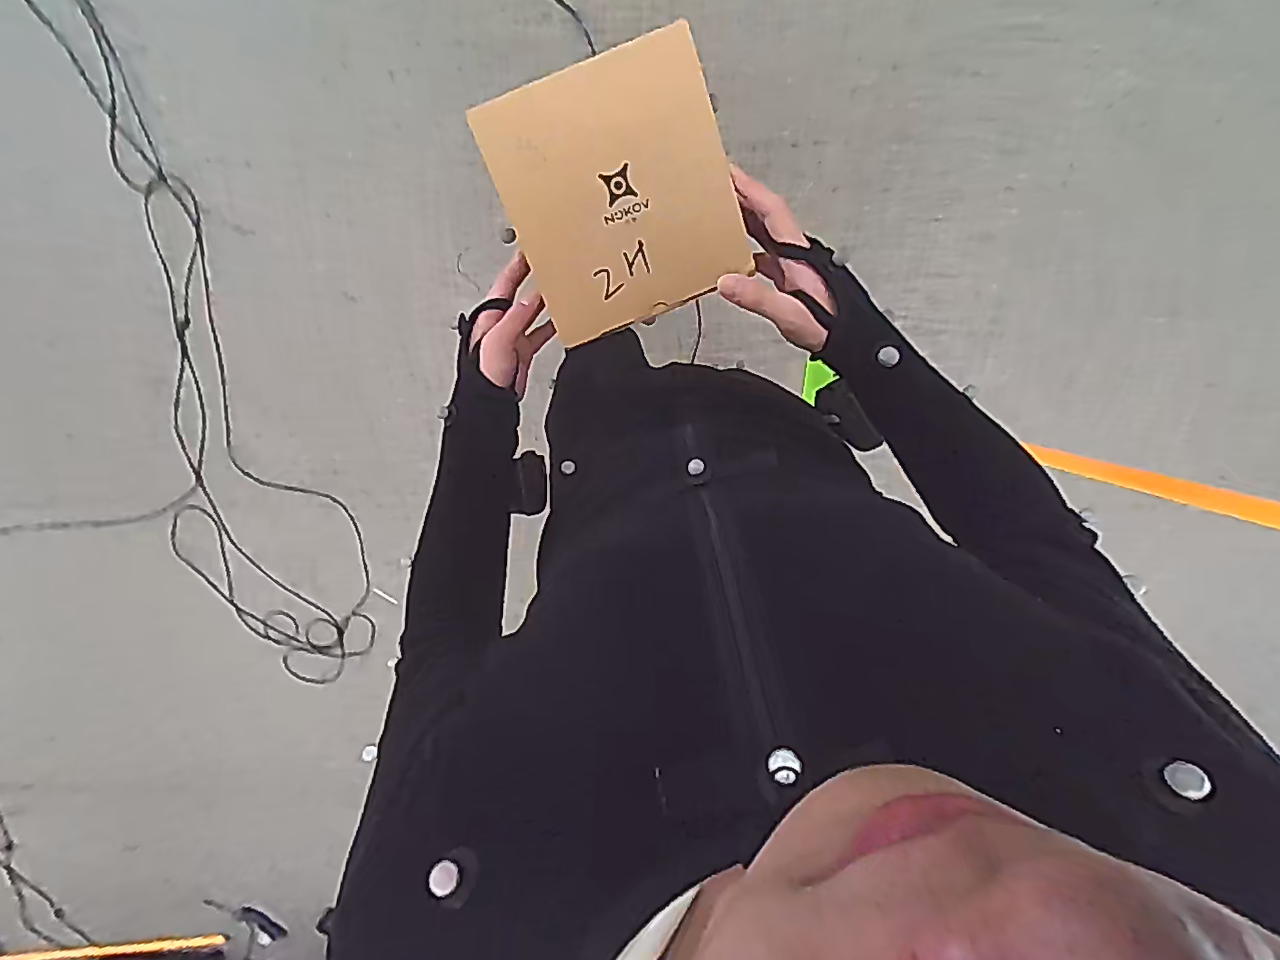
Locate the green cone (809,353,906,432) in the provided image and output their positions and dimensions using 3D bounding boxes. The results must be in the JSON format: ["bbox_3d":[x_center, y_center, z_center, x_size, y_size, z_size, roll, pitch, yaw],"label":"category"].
[{"bbox_3d":[0.575,-0.192,1.349,0.202,0.368,0.200,1,111,1],"label":"green cone"}]
